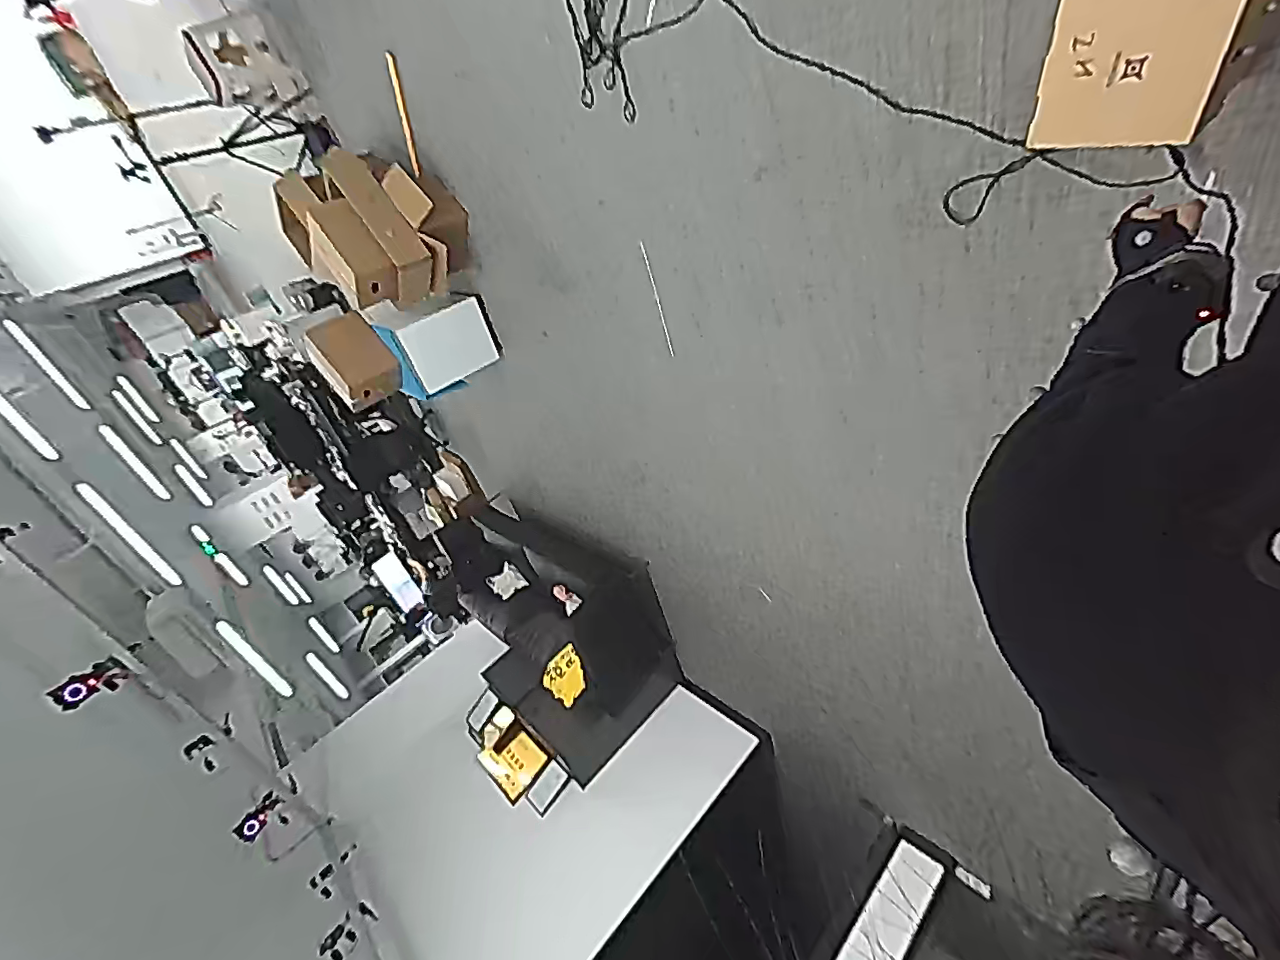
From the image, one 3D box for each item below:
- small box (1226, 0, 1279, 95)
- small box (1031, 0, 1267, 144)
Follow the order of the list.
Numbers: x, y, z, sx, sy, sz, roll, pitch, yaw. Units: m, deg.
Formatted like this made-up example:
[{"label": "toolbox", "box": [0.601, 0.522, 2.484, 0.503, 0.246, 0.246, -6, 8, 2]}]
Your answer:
[{"label": "small box", "box": [0.872, -0.716, 0.837, 0.168, 0.176, 0.179, 32, 146, 33]}, {"label": "small box", "box": [0.644, -0.539, 0.683, 0.179, 0.176, 0.168, 28, 142, 40]}]
